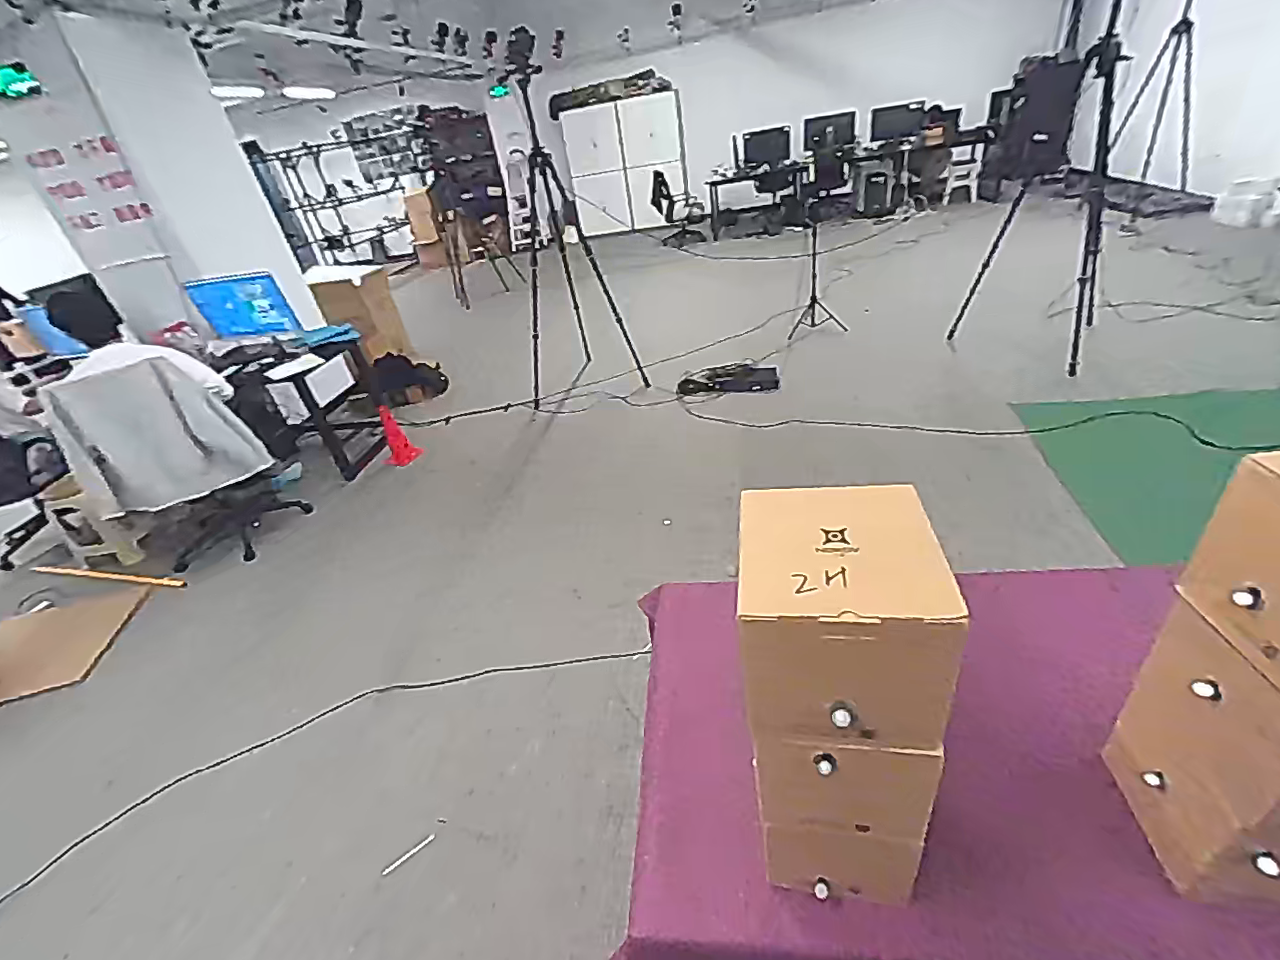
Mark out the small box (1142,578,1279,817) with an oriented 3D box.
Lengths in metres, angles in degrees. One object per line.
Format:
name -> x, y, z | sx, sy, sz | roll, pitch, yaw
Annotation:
small box -> 0.659, 0.212, 0.531 | 0.168, 0.176, 0.179 | -5, 32, 10

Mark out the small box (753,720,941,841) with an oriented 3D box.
small box -> 0.218, 0.259, 0.602 | 0.168, 0.176, 0.179 | -4, 33, 16

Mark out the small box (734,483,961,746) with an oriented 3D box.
small box -> 0.182, 0.122, 0.519 | 0.168, 0.176, 0.179 | -3, 34, 14

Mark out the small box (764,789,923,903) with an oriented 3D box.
small box -> 0.247, 0.395, 0.691 | 0.168, 0.176, 0.179 | -2, 35, 16

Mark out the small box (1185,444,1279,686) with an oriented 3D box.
small box -> 0.627, 0.077, 0.446 | 0.179, 0.176, 0.168 | -7, 32, 10
